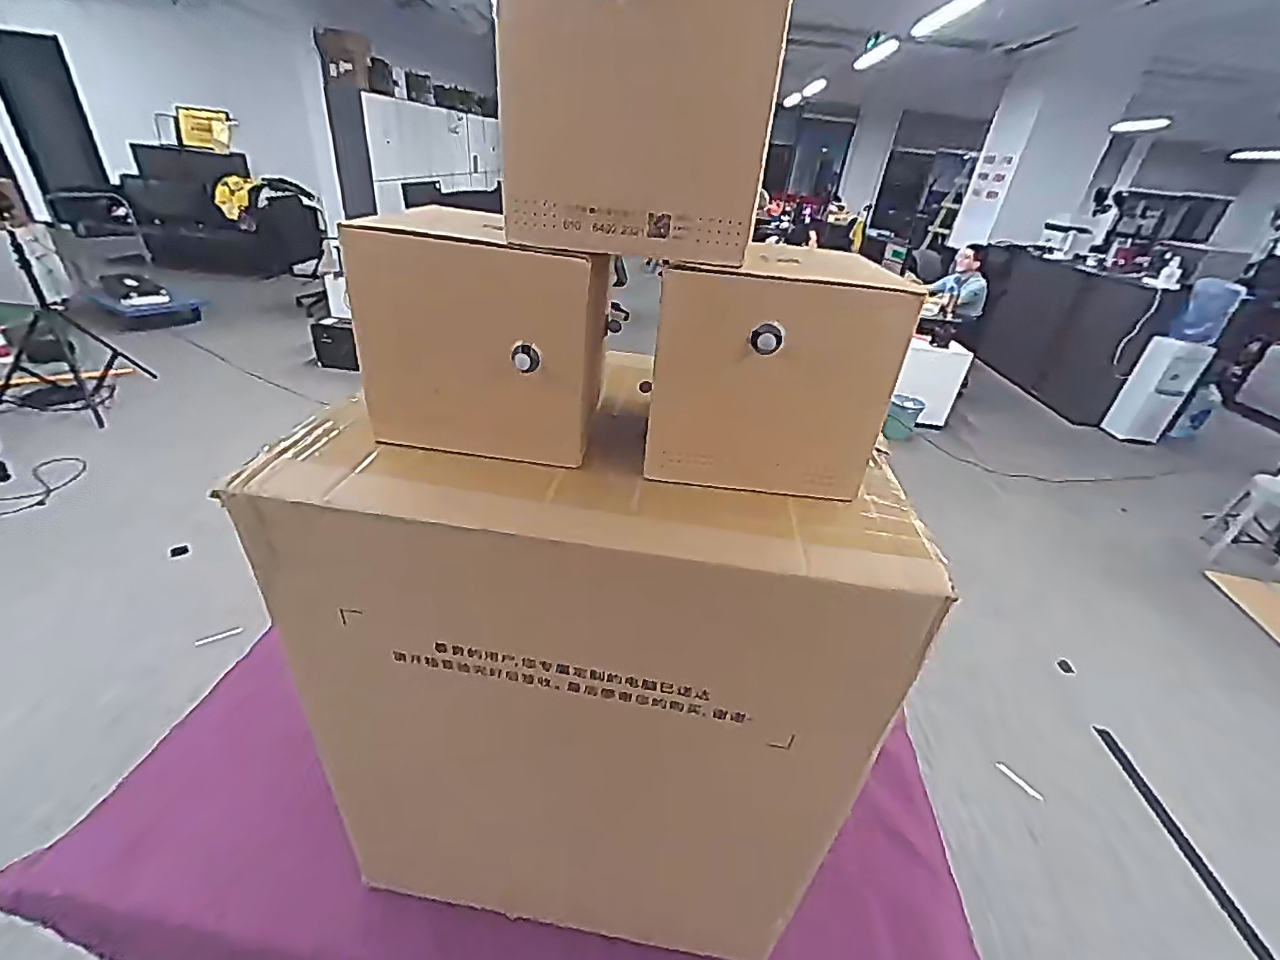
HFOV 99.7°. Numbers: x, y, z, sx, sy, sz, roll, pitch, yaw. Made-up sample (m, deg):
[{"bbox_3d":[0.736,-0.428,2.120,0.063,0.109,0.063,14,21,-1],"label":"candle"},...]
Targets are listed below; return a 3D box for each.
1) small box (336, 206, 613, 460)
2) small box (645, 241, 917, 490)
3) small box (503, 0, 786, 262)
[{"bbox_3d":[-0.123,-0.130,0.472,0.179,0.176,0.168,7,30,0],"label":"small box"},{"bbox_3d":[0.098,-0.105,0.467,0.179,0.176,0.168,6,30,0],"label":"small box"},{"bbox_3d":[0.001,-0.264,0.397,0.168,0.176,0.179,6,29,2],"label":"small box"}]
